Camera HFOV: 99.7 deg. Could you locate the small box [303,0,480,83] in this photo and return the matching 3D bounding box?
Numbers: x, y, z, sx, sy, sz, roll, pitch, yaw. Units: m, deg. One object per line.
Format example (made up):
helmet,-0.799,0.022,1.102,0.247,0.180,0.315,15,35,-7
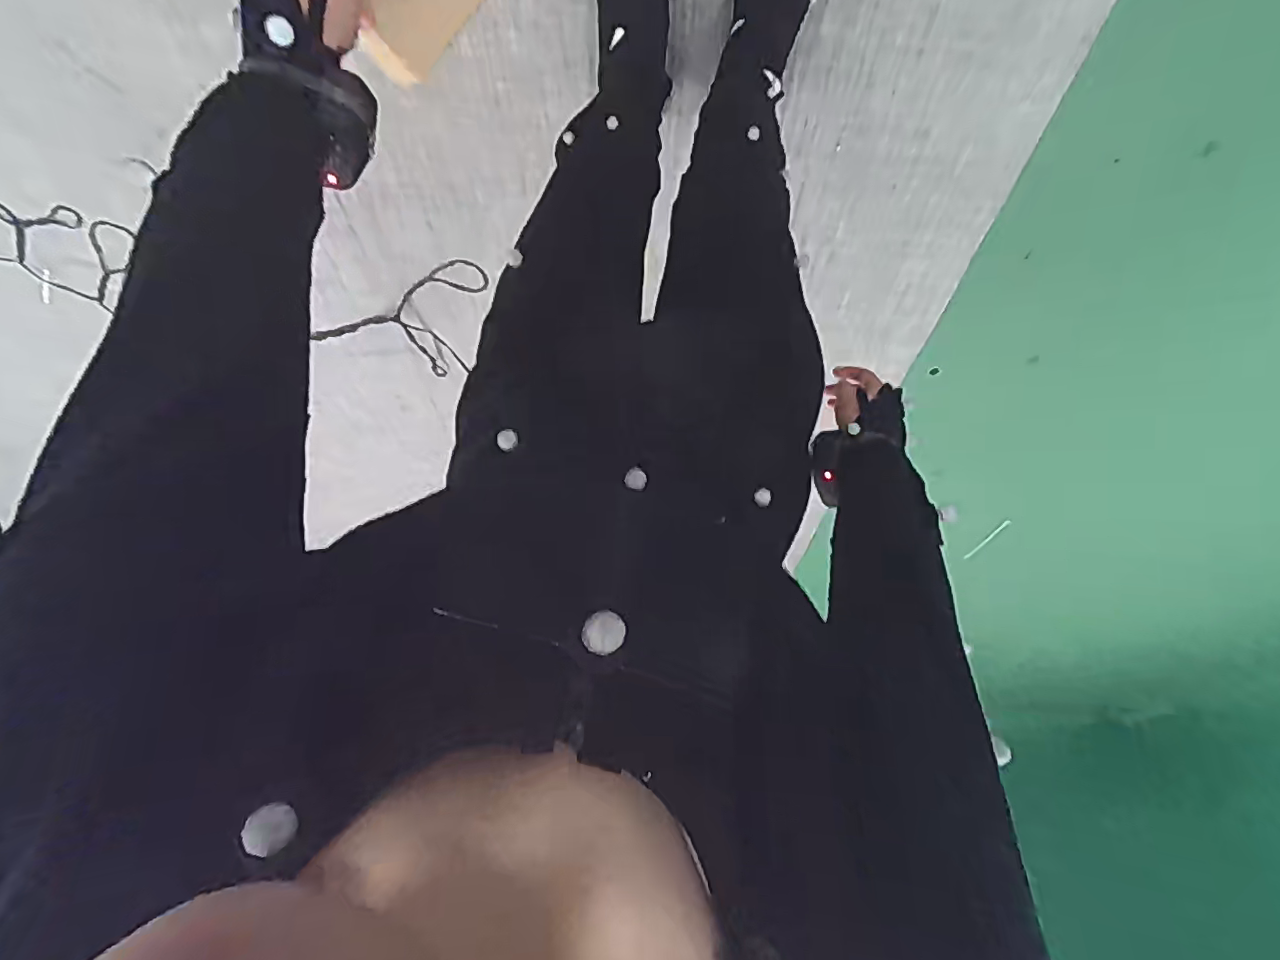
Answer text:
small box,-0.235,-0.499,0.483,0.176,0.179,0.168,-51,136,5
